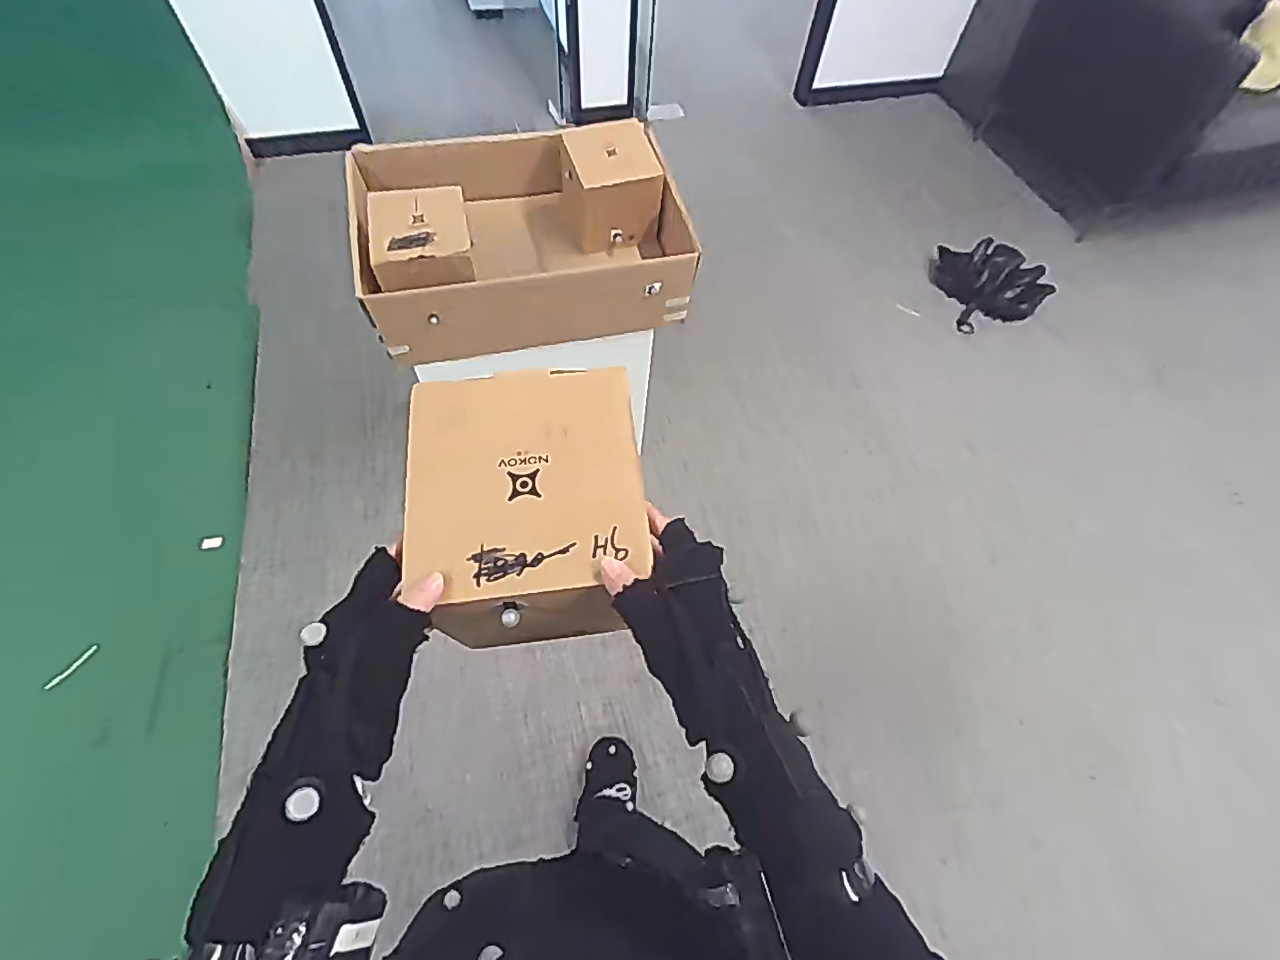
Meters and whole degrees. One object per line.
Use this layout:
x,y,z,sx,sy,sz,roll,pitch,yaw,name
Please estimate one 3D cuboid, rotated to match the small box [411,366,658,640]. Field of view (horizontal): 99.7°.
-0.080,0.027,0.465,0.168,0.176,0.179,-6,65,-4,small box
